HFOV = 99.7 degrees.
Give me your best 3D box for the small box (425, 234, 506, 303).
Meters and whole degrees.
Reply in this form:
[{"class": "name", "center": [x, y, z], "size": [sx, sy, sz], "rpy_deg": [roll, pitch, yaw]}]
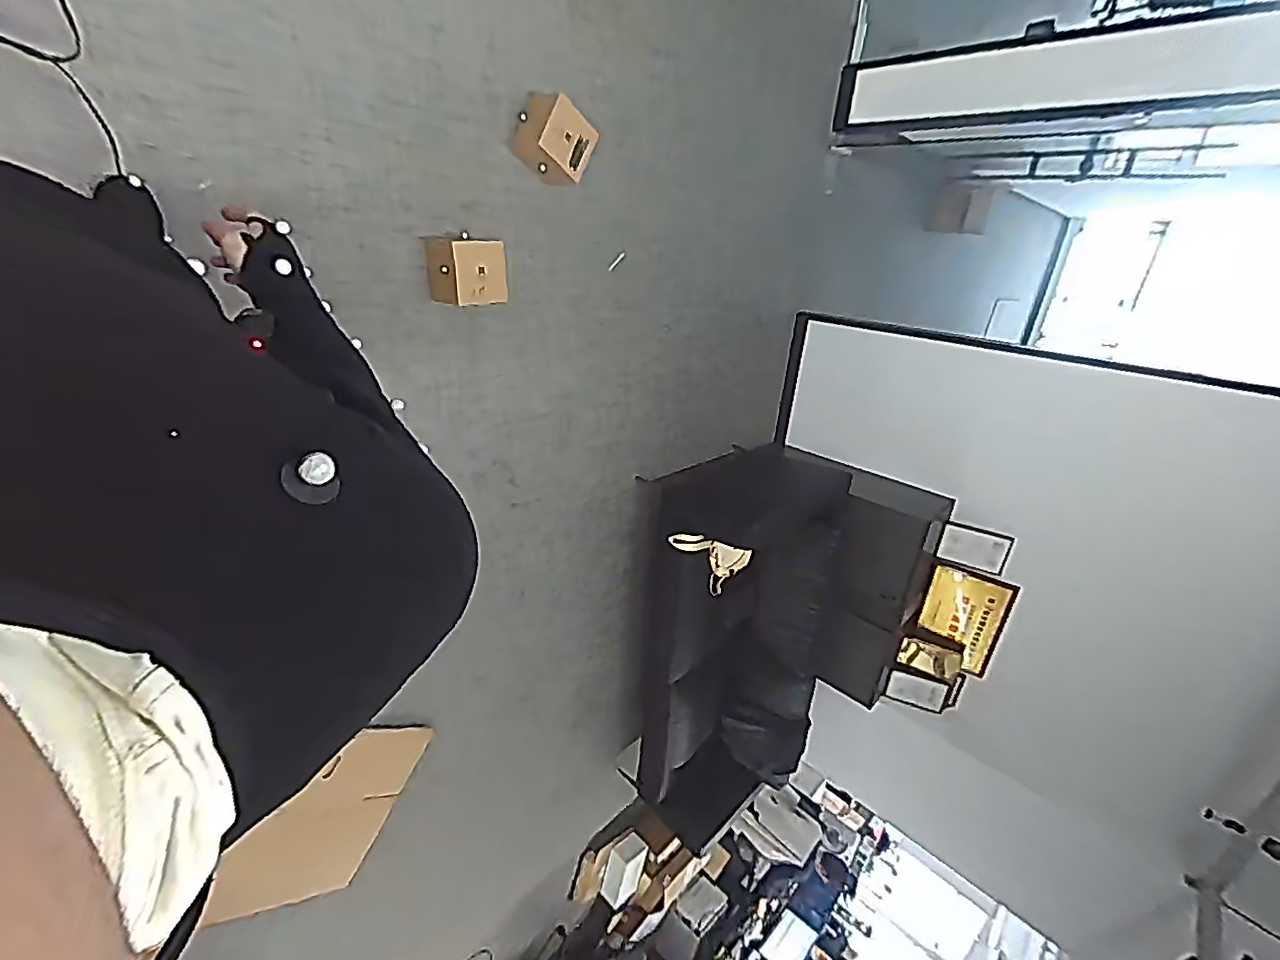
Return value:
[{"class": "small box", "center": [-0.516, -0.630, 1.599], "size": [0.168, 0.176, 0.179], "rpy_deg": [-22, 126, -40]}]
